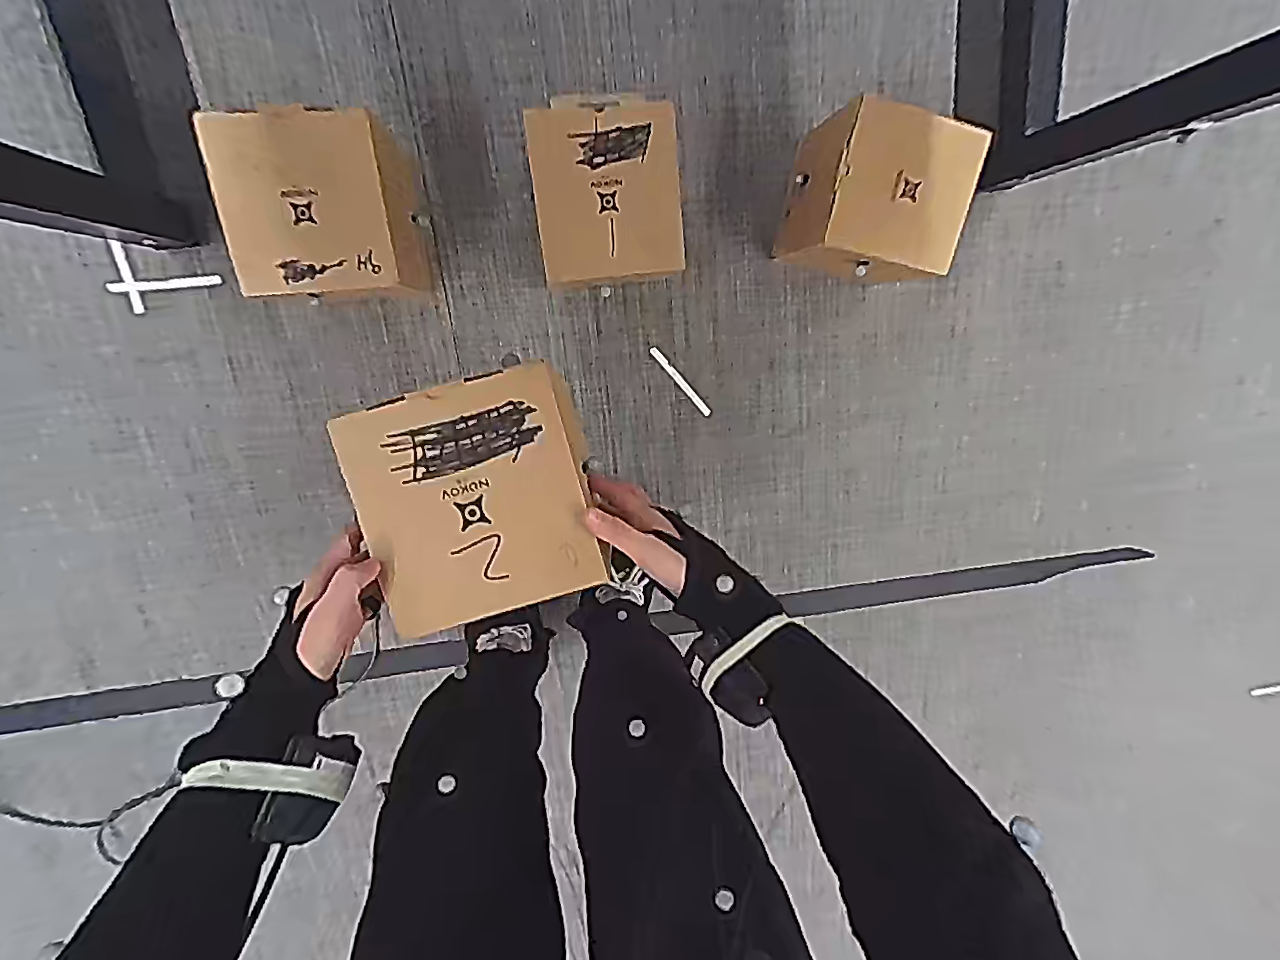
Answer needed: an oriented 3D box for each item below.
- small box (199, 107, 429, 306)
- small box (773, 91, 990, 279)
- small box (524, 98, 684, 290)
[{"bbox_3d":[-0.361,-0.307,0.637,0.168,0.176,0.179,-6,105,-7],"label":"small box"},{"bbox_3d":[0.305,-0.372,0.720,0.179,0.176,0.168,9,104,-10],"label":"small box"},{"bbox_3d":[-0.048,-0.340,0.674,0.168,0.176,0.179,-8,107,-6],"label":"small box"}]
